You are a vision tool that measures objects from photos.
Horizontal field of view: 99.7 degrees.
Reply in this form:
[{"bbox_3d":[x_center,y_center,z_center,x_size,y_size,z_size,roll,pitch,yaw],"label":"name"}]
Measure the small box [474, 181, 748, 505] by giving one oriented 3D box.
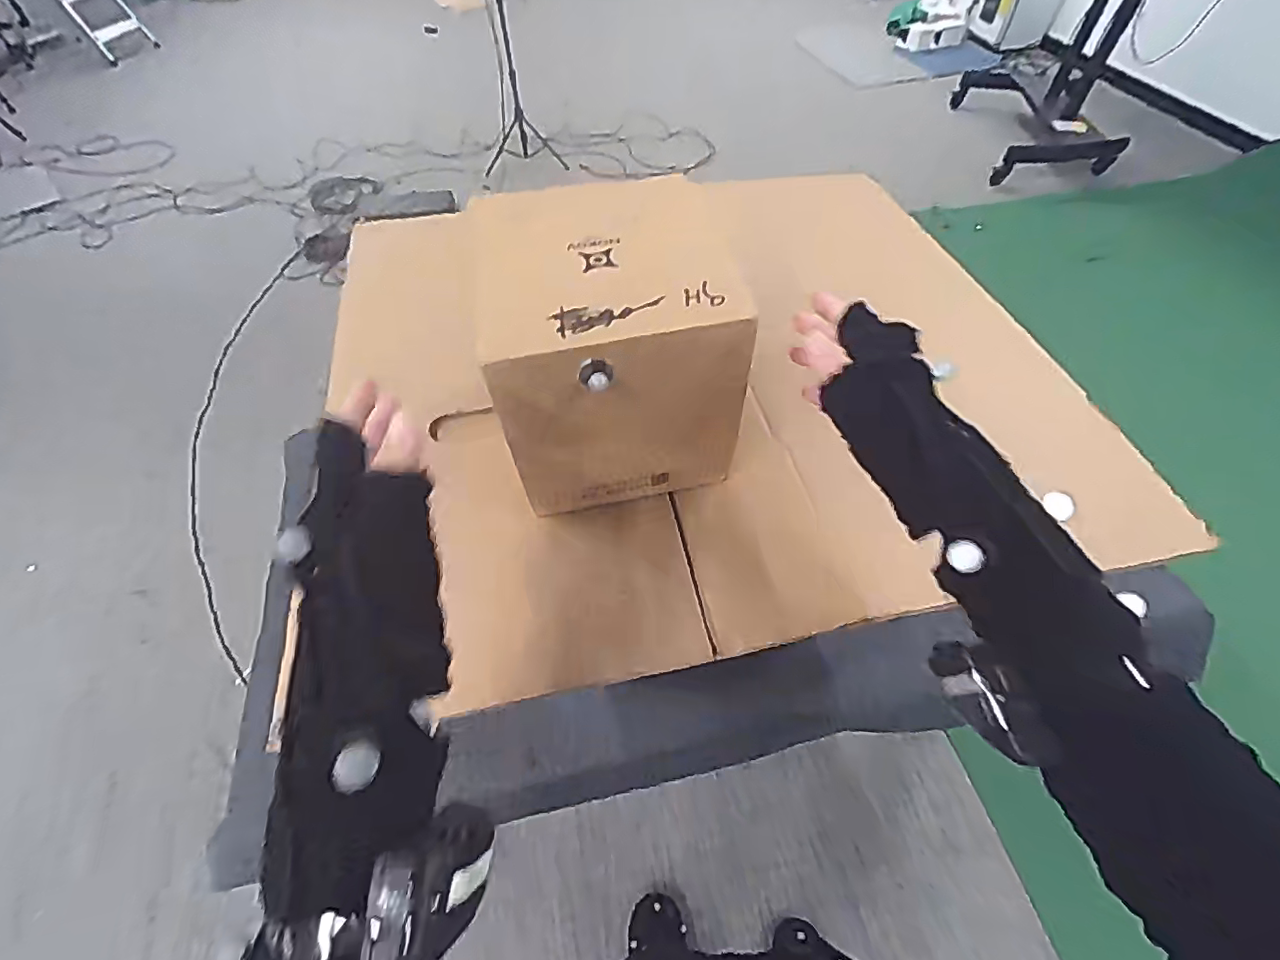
[{"bbox_3d":[-0.028,-0.106,0.432,0.168,0.176,0.179,-11,55,-6],"label":"small box"}]
